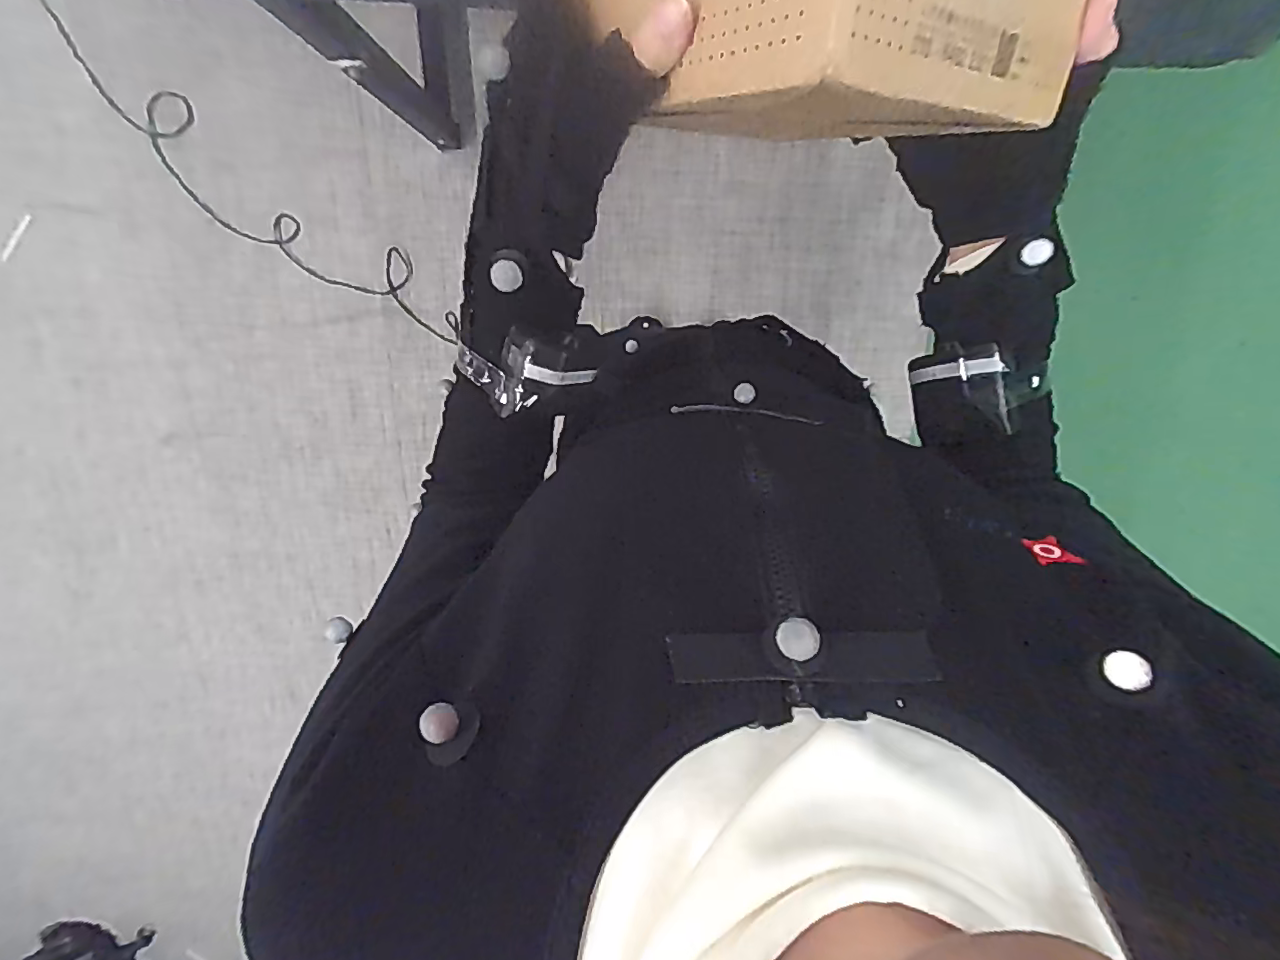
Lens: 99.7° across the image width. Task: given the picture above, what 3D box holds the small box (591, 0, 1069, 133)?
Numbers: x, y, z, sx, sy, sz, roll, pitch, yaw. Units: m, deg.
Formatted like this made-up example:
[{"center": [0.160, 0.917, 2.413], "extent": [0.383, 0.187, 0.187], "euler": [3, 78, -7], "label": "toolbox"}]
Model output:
[{"center": [0.084, -0.267, 0.250], "extent": [0.168, 0.179, 0.176], "euler": [-16, 124, -29], "label": "small box"}]
